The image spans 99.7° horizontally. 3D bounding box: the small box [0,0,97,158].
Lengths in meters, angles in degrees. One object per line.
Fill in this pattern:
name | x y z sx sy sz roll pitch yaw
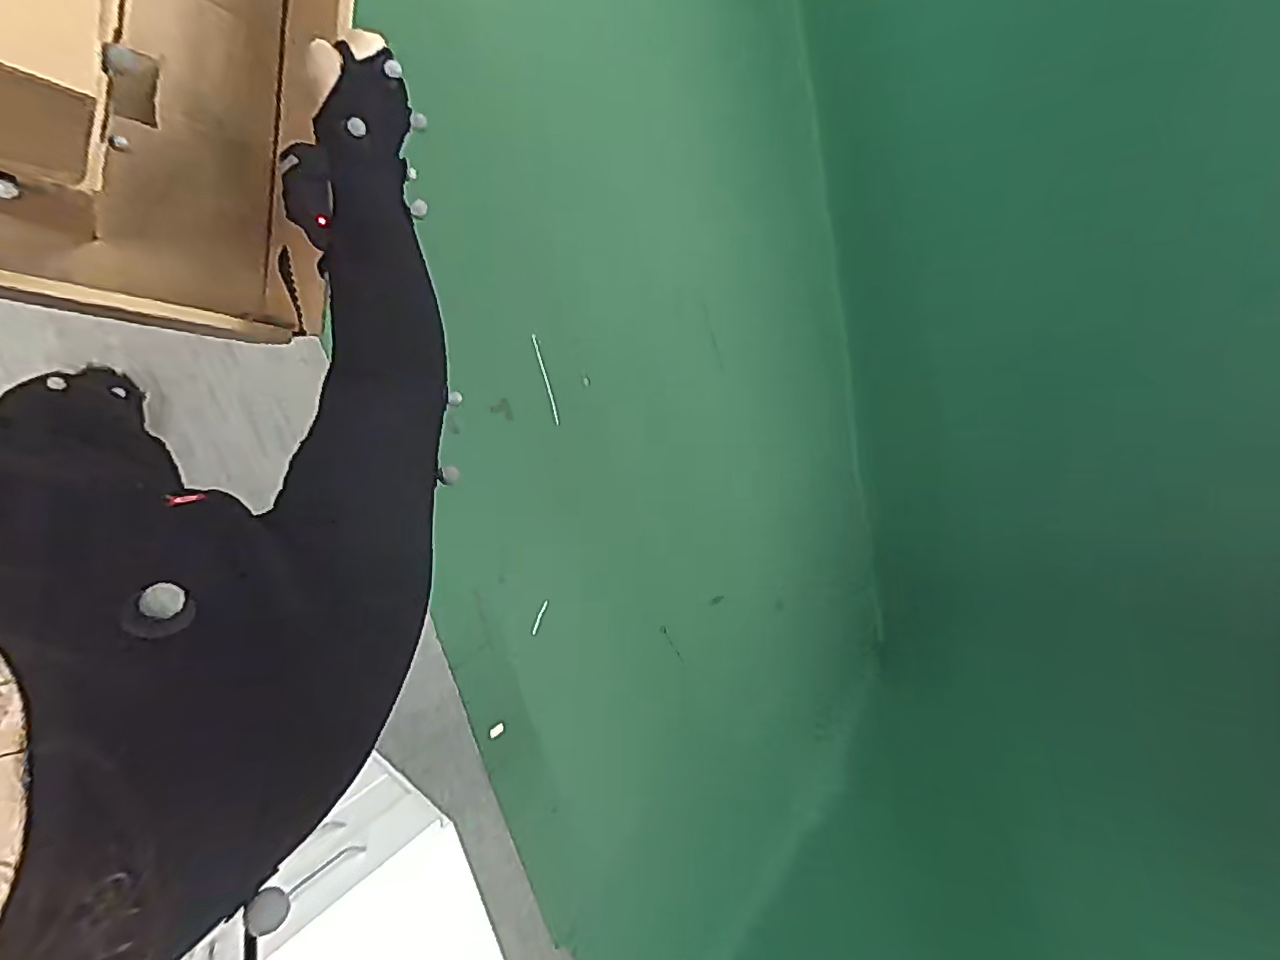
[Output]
small box | -0.343 -0.261 0.217 0.179 0.176 0.168 0 99 -48
